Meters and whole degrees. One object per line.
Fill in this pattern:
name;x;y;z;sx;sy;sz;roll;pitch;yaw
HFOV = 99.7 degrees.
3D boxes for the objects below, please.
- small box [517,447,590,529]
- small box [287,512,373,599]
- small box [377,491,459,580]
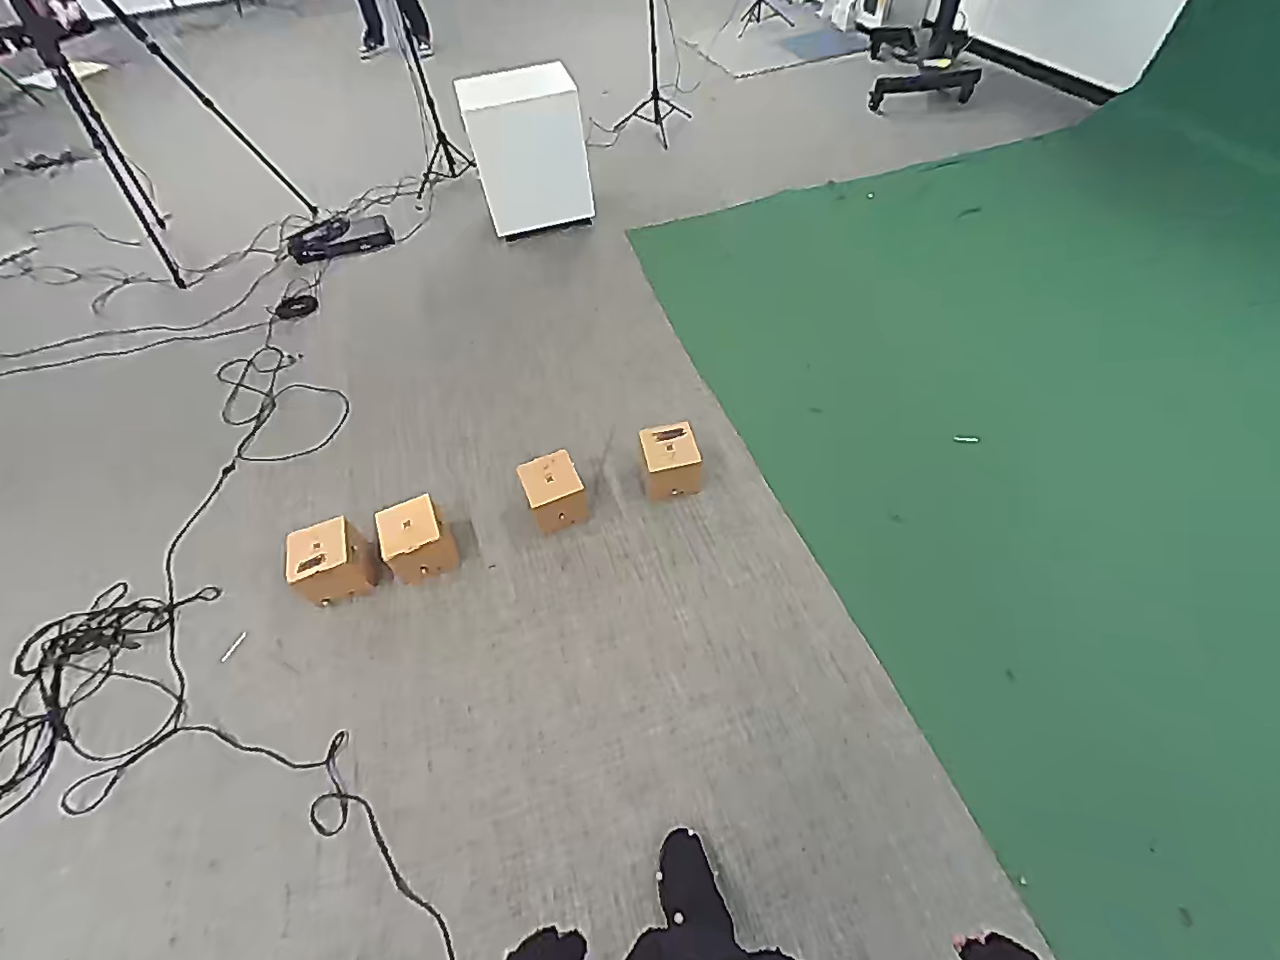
small box;-0.267;0.032;1.695;0.168;0.176;0.179;-21;55;-12
small box;-0.912;0.231;1.601;0.168;0.176;0.179;-20;54;-10
small box;-0.665;0.168;1.628;0.168;0.176;0.179;-23;56;-11
